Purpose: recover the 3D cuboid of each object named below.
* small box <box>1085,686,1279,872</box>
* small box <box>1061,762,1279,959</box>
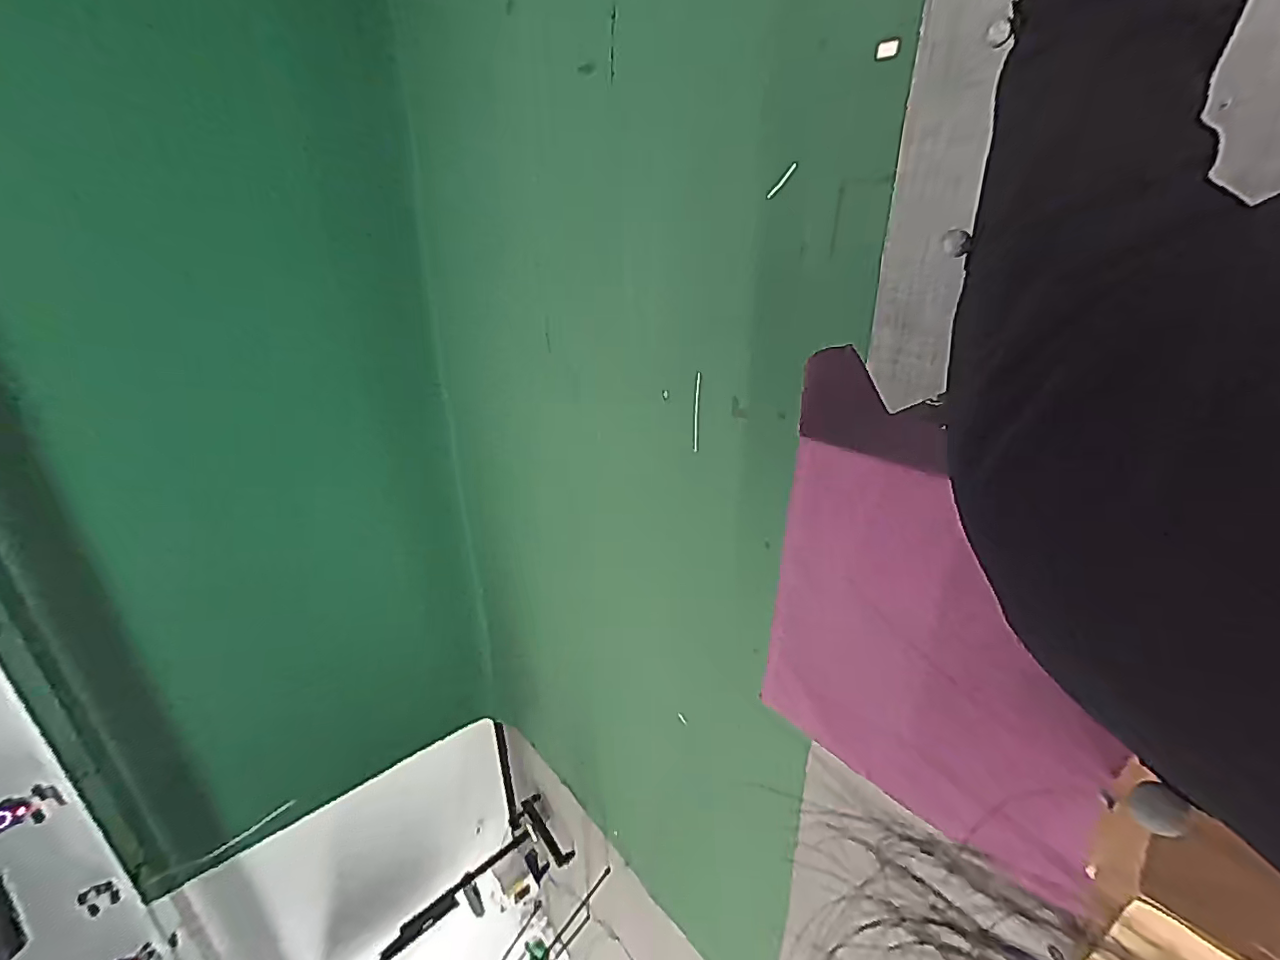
[{"bbox_3d":[0.603,0.353,0.547,0.168,0.176,0.179,29,126,41],"label":"small box"},{"bbox_3d":[0.483,0.382,0.438,0.168,0.176,0.179,27,124,41],"label":"small box"}]
